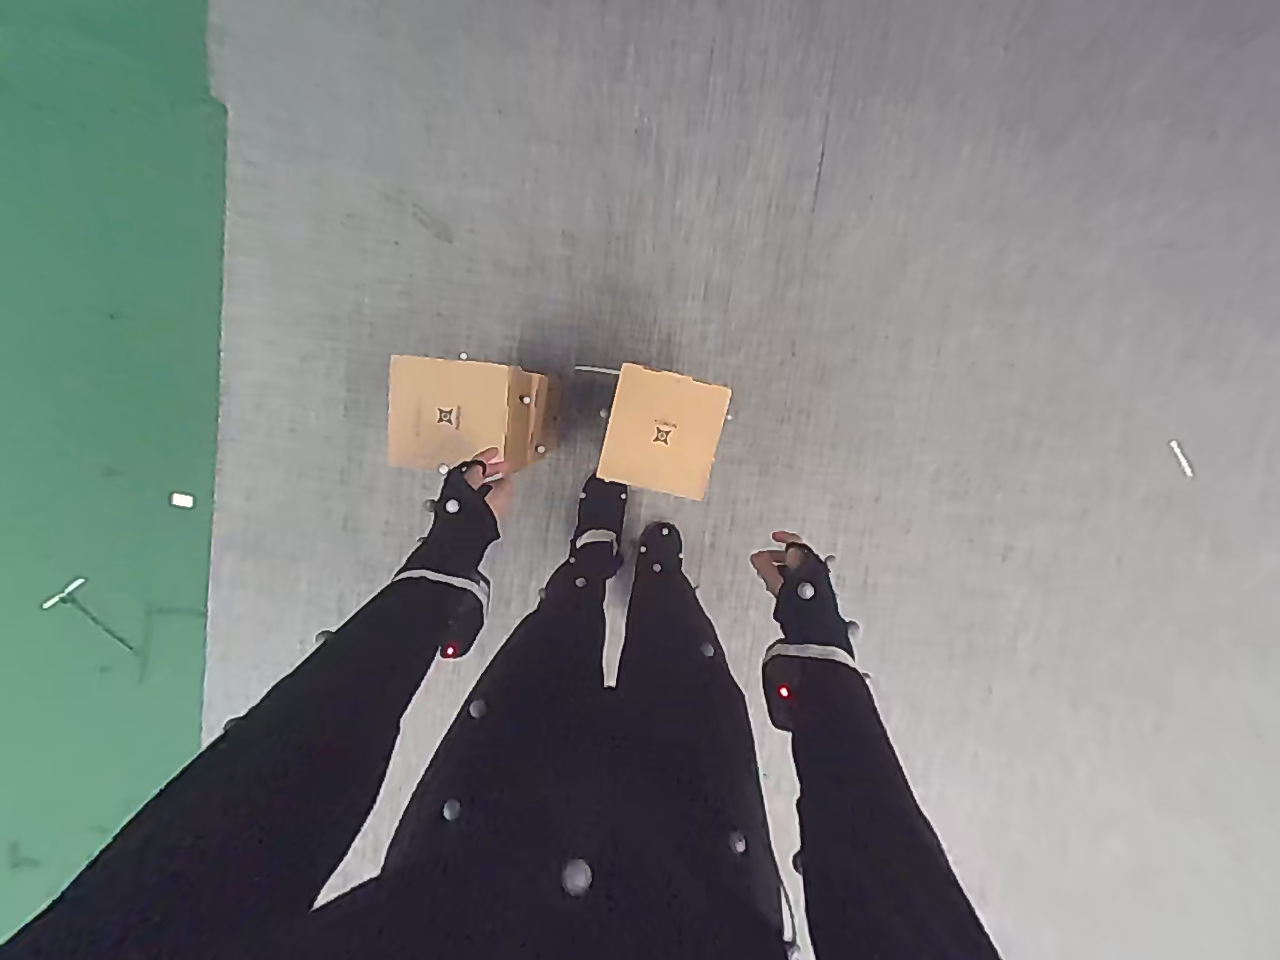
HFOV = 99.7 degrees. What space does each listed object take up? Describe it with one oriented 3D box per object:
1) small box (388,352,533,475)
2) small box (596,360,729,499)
[{"bbox_3d":[-0.277,-0.106,0.870,0.179,0.176,0.168,6,96,1],"label":"small box"},{"bbox_3d":[0.034,-0.081,0.877,0.168,0.176,0.179,13,95,-1],"label":"small box"}]
